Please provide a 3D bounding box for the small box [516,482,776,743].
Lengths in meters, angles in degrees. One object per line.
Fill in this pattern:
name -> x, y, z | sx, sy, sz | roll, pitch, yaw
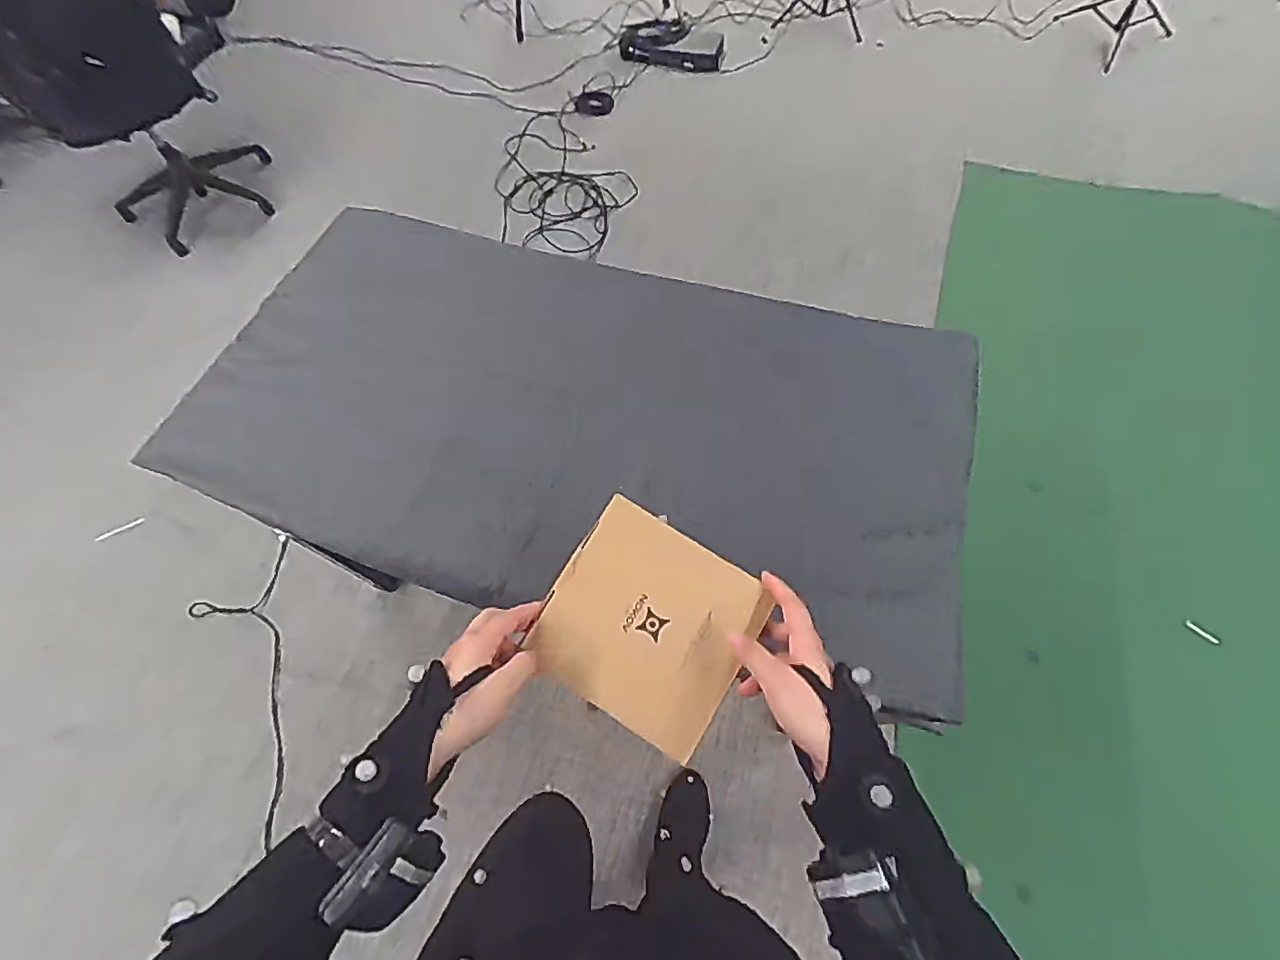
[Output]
small box -> 0.007, 0.128, 0.548 | 0.179, 0.176, 0.168 | 29, 81, 7
